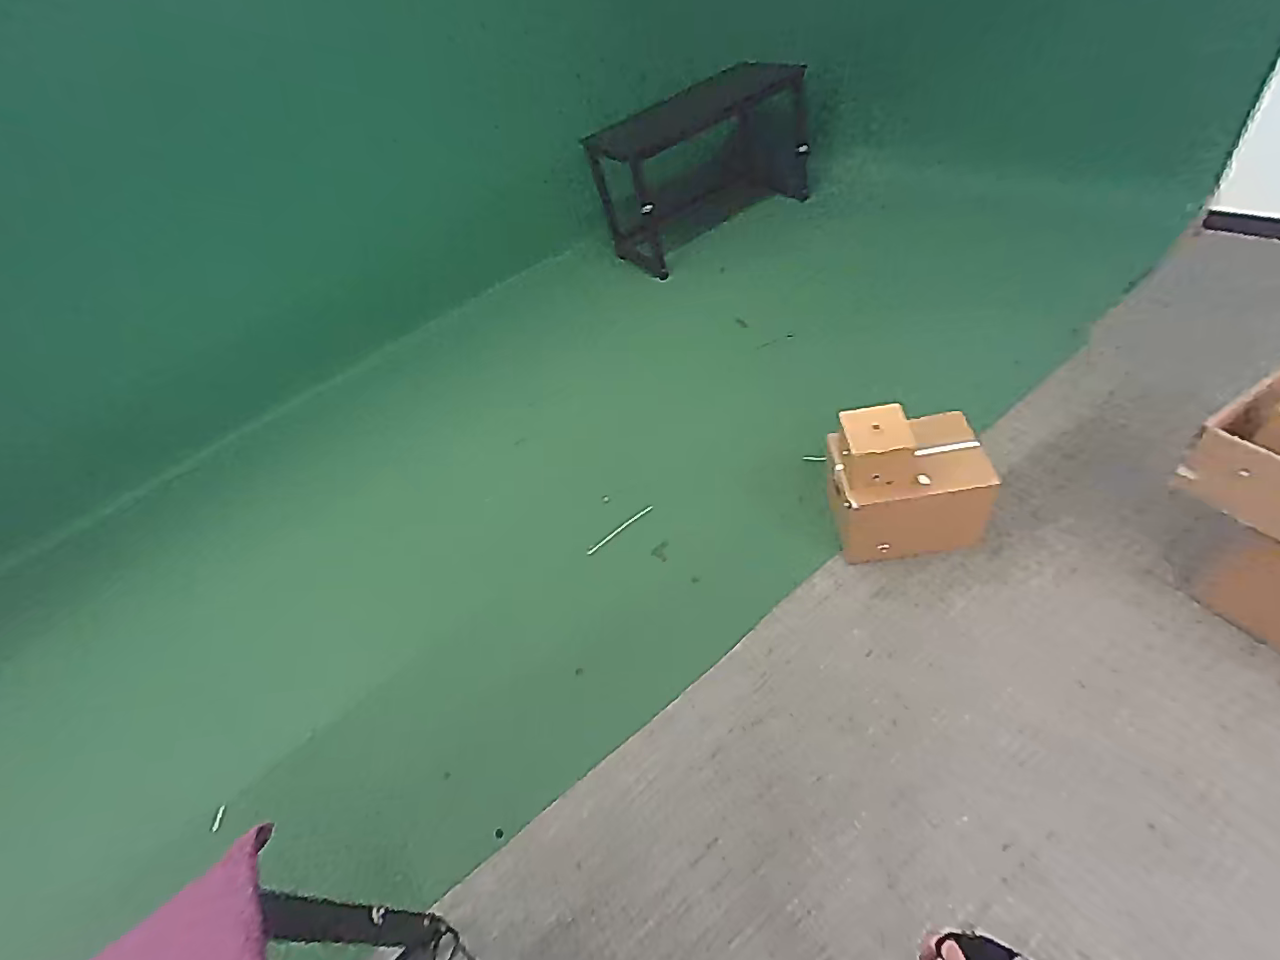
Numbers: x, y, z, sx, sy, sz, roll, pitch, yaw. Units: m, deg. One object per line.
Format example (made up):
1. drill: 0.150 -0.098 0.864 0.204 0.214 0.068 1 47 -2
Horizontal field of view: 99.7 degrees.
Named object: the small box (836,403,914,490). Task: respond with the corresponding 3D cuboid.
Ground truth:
1. small box: 0.669 -0.094 1.563 0.168 0.176 0.179 -8 49 10
